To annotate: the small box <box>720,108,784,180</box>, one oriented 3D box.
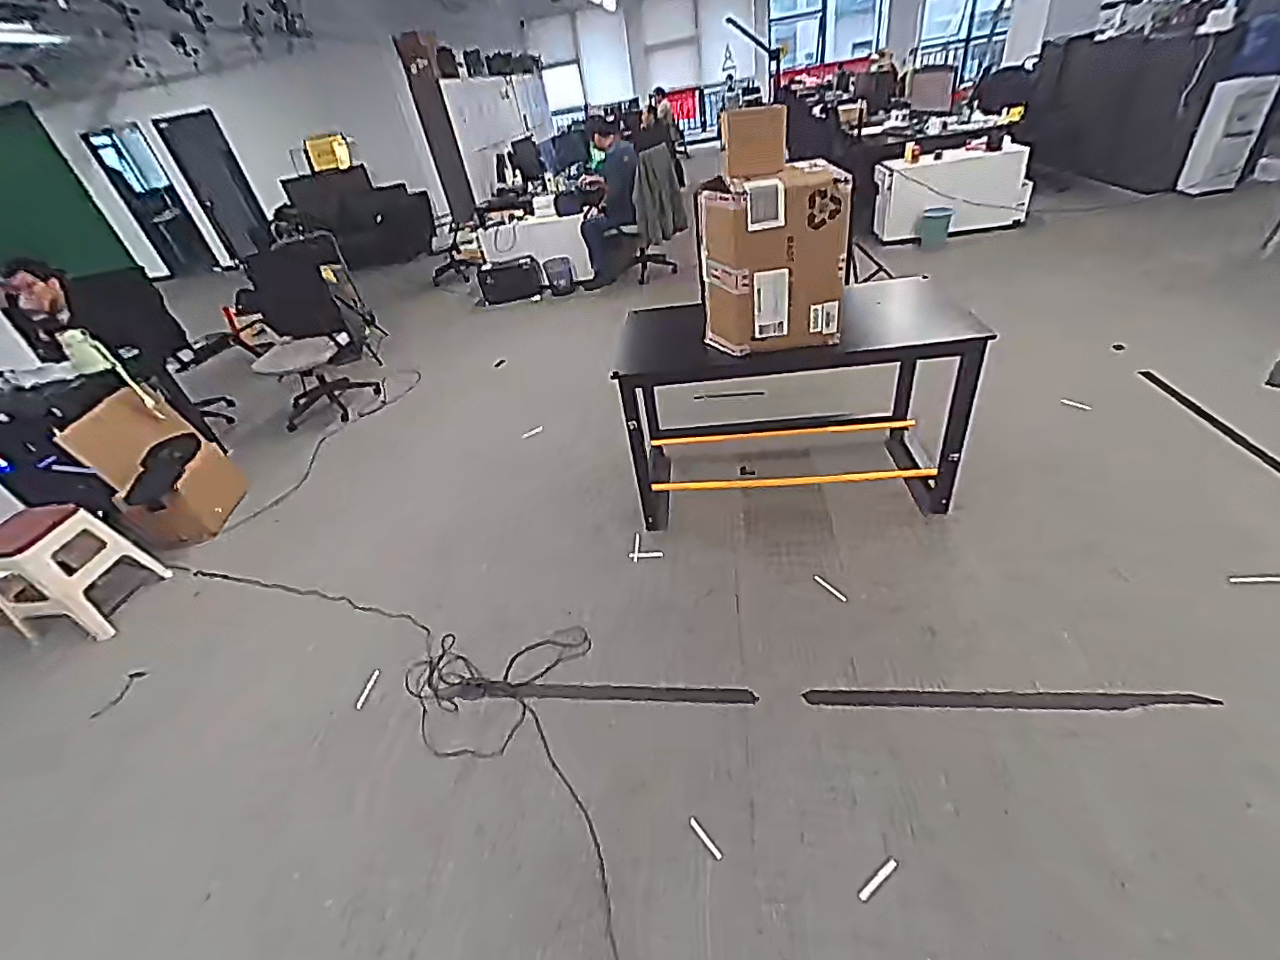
[{"bbox_3d":[0.348,-1.047,1.686,0.179,0.176,0.168,-5,34,6],"label":"small box"}]
